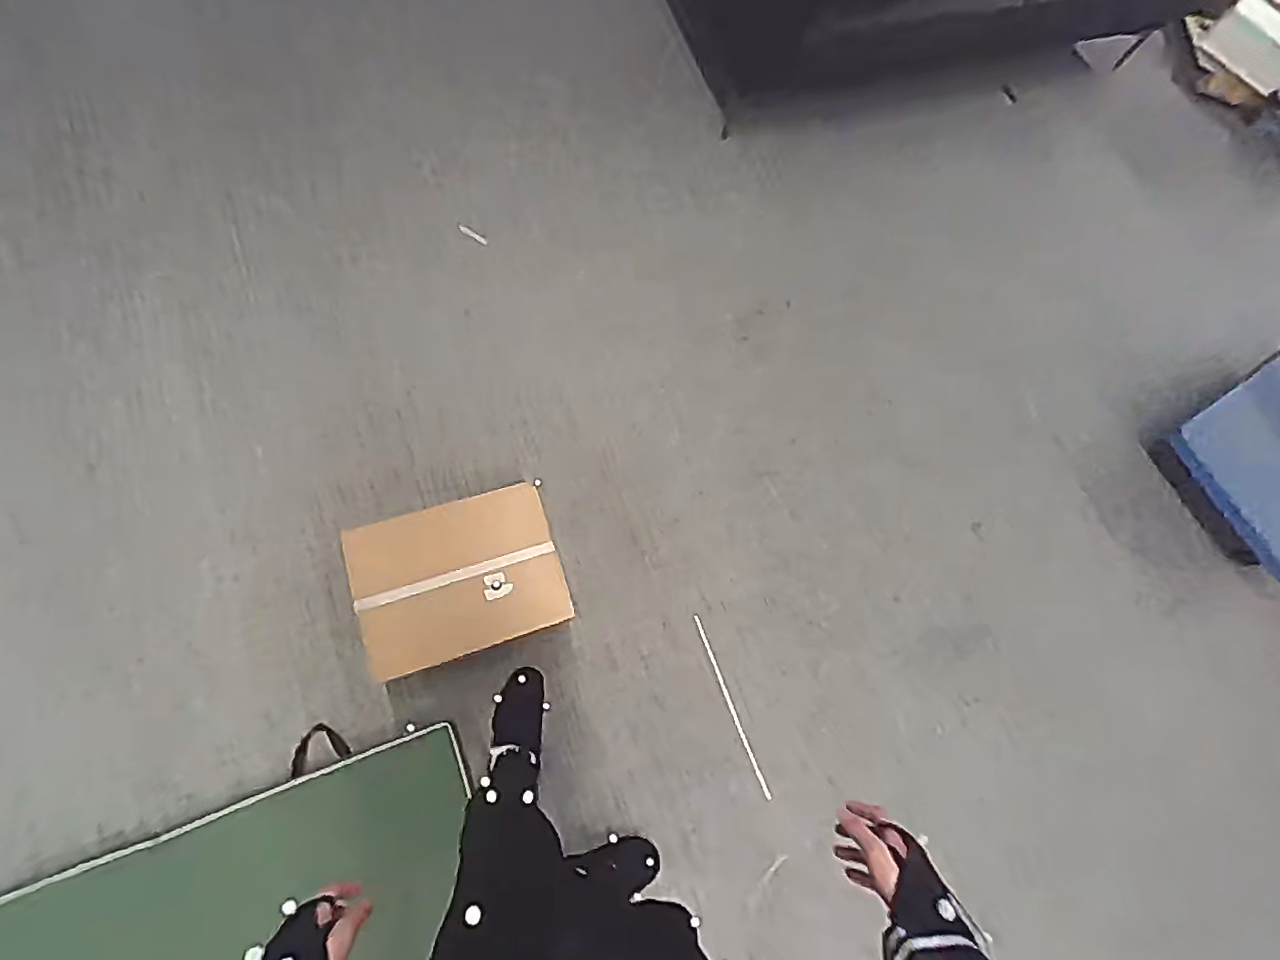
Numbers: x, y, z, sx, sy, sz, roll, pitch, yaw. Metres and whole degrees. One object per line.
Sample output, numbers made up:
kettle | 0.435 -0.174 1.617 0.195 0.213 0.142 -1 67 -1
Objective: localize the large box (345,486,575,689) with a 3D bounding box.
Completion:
large box | -0.395 0.251 1.252 0.408 0.320 0.320 -16 77 -15
